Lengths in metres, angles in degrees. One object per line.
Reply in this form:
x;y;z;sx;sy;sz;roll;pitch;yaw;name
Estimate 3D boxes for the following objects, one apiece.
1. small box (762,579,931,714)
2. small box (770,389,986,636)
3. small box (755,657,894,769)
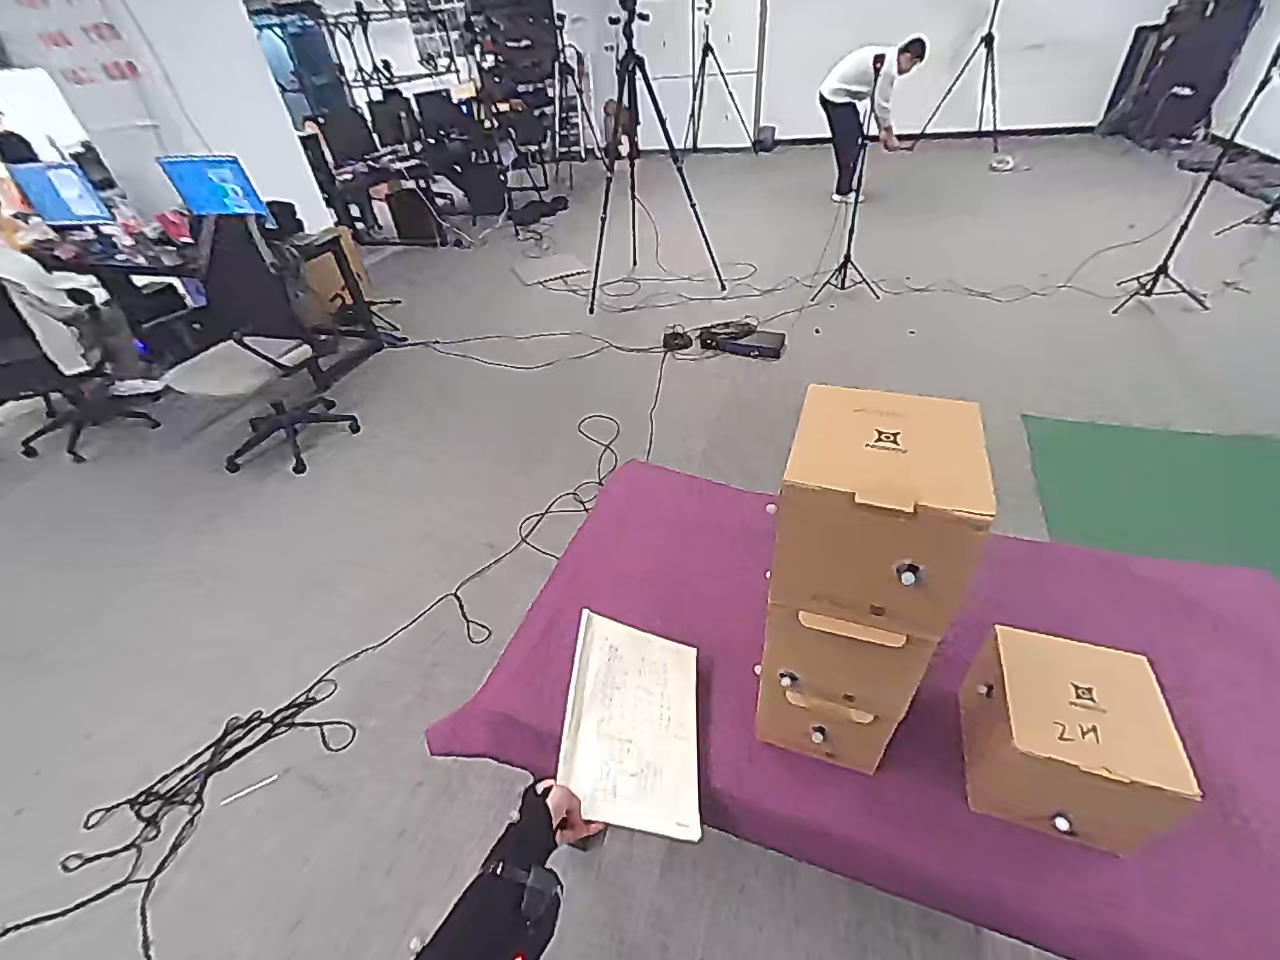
0.248;0.153;0.664;0.168;0.176;0.179;10;41;19;small box
0.234;0.030;0.557;0.168;0.176;0.179;11;42;19;small box
0.262;0.276;0.772;0.168;0.176;0.179;10;42;18;small box
